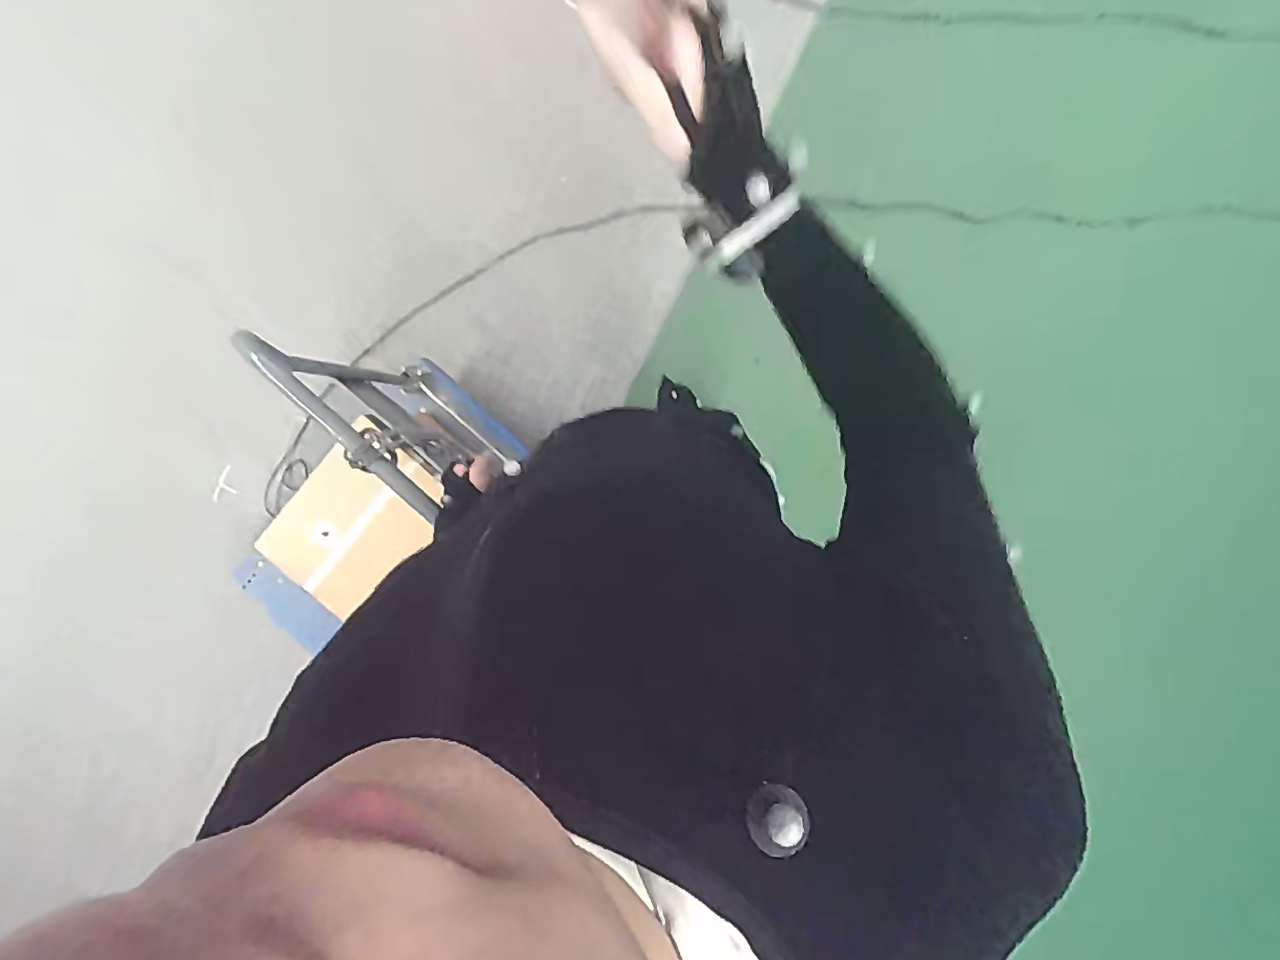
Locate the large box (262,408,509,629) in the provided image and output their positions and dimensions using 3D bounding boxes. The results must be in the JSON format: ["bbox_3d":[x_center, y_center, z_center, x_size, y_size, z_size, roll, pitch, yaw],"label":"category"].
[{"bbox_3d":[-0.595,0.071,1.334,0.320,0.320,0.408,43,98,-3],"label":"large box"}]
